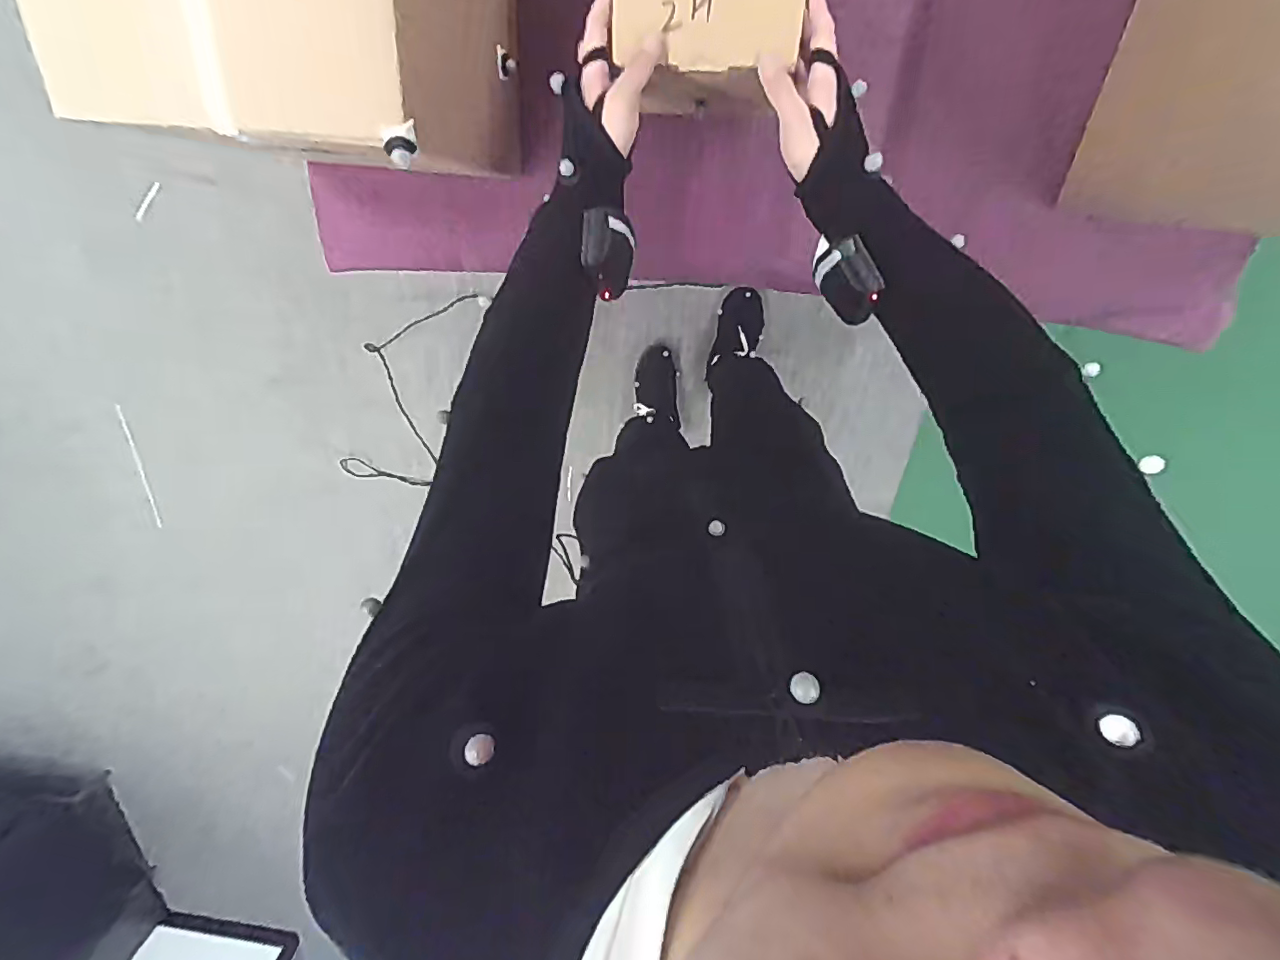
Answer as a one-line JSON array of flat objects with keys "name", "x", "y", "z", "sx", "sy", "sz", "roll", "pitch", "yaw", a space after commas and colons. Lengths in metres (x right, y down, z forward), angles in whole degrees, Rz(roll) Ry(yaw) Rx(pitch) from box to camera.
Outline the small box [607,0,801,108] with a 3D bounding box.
[{"name": "small box", "x": 0.065, "y": -0.481, "z": 0.512, "sx": 0.168, "sy": 0.176, "sz": 0.179, "roll": 6, "pitch": 113, "yaw": 5}]
